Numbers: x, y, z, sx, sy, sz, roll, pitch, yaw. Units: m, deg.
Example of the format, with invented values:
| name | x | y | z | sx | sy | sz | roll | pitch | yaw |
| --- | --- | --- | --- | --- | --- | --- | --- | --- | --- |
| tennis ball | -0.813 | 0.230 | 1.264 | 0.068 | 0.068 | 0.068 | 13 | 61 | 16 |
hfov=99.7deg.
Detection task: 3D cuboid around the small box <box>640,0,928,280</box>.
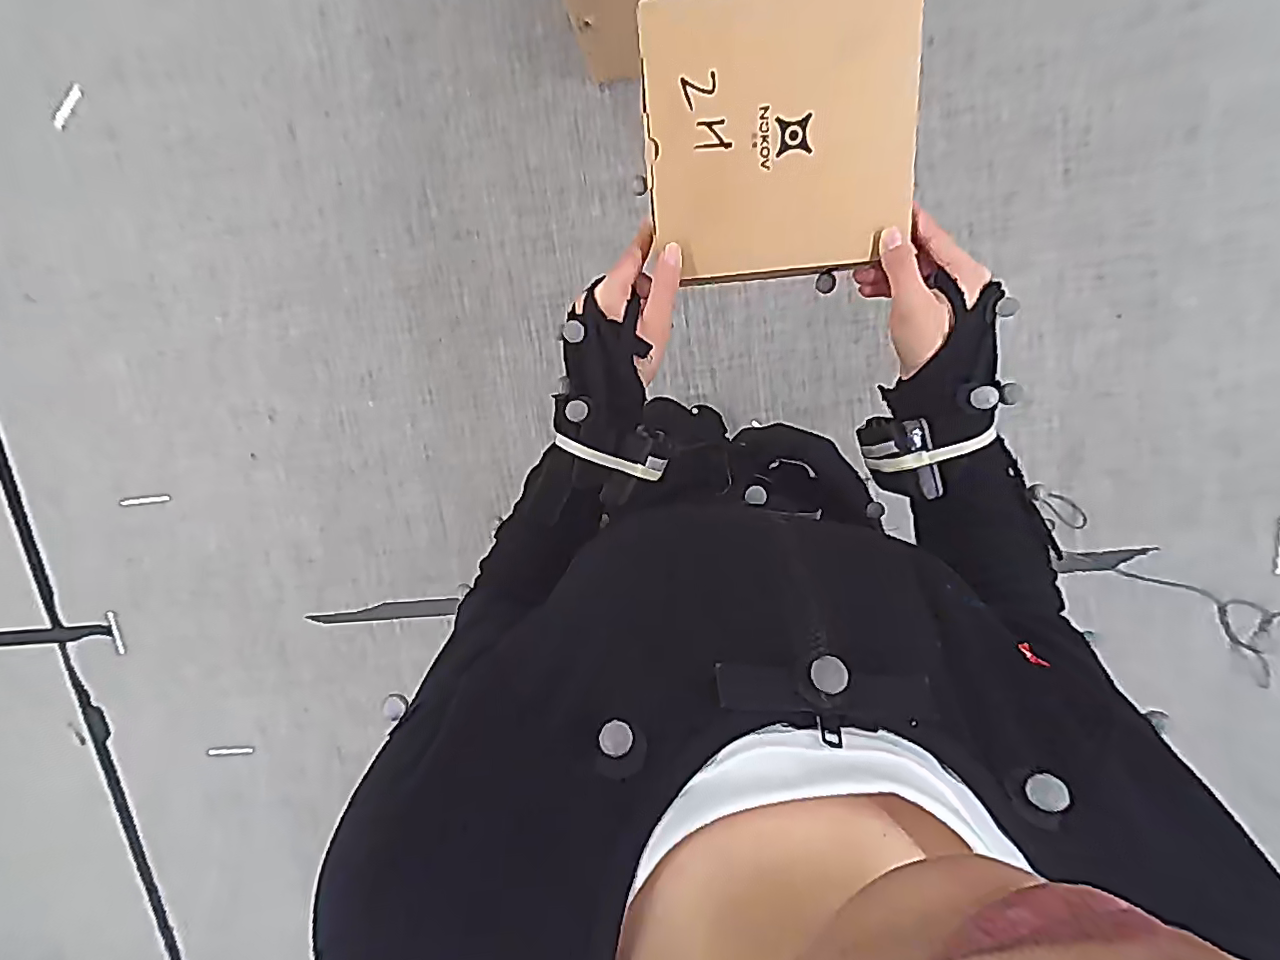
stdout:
| name | x | y | z | sx | sy | sz | roll | pitch | yaw |
| --- | --- | --- | --- | --- | --- | --- | --- | --- | --- |
| small box | 0.094 | -0.252 | 0.422 | 0.179 | 0.176 | 0.168 | -4 | 107 | 4 |
